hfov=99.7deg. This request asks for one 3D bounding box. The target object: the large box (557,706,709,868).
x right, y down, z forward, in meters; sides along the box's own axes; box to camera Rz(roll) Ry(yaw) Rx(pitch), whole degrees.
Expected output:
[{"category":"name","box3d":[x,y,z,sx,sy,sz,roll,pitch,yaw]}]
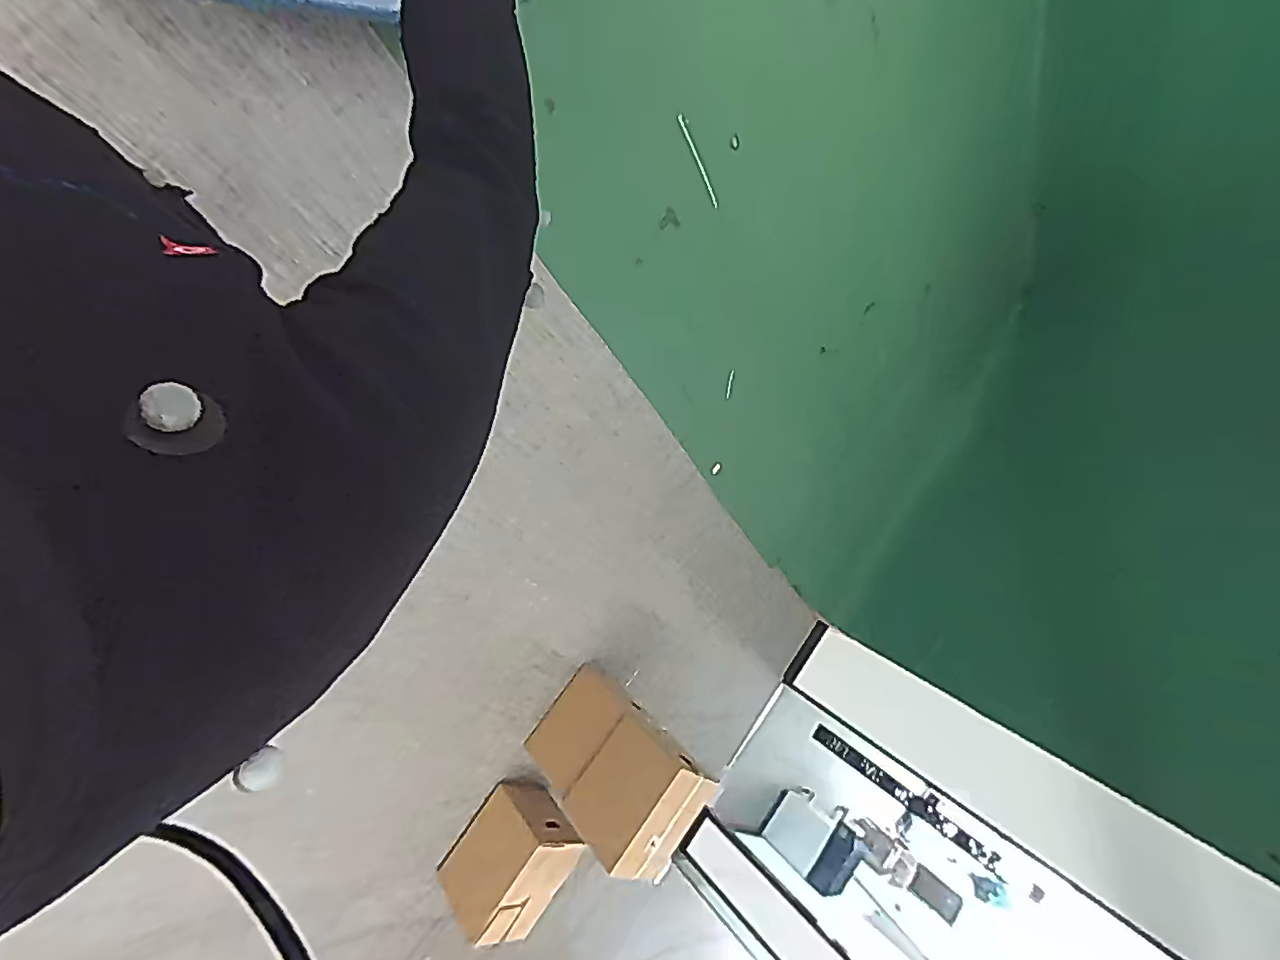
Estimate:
[{"category":"large box","box3d":[-0.022,1.123,1.995,0.408,0.320,0.320,-51,134,-10]}]
